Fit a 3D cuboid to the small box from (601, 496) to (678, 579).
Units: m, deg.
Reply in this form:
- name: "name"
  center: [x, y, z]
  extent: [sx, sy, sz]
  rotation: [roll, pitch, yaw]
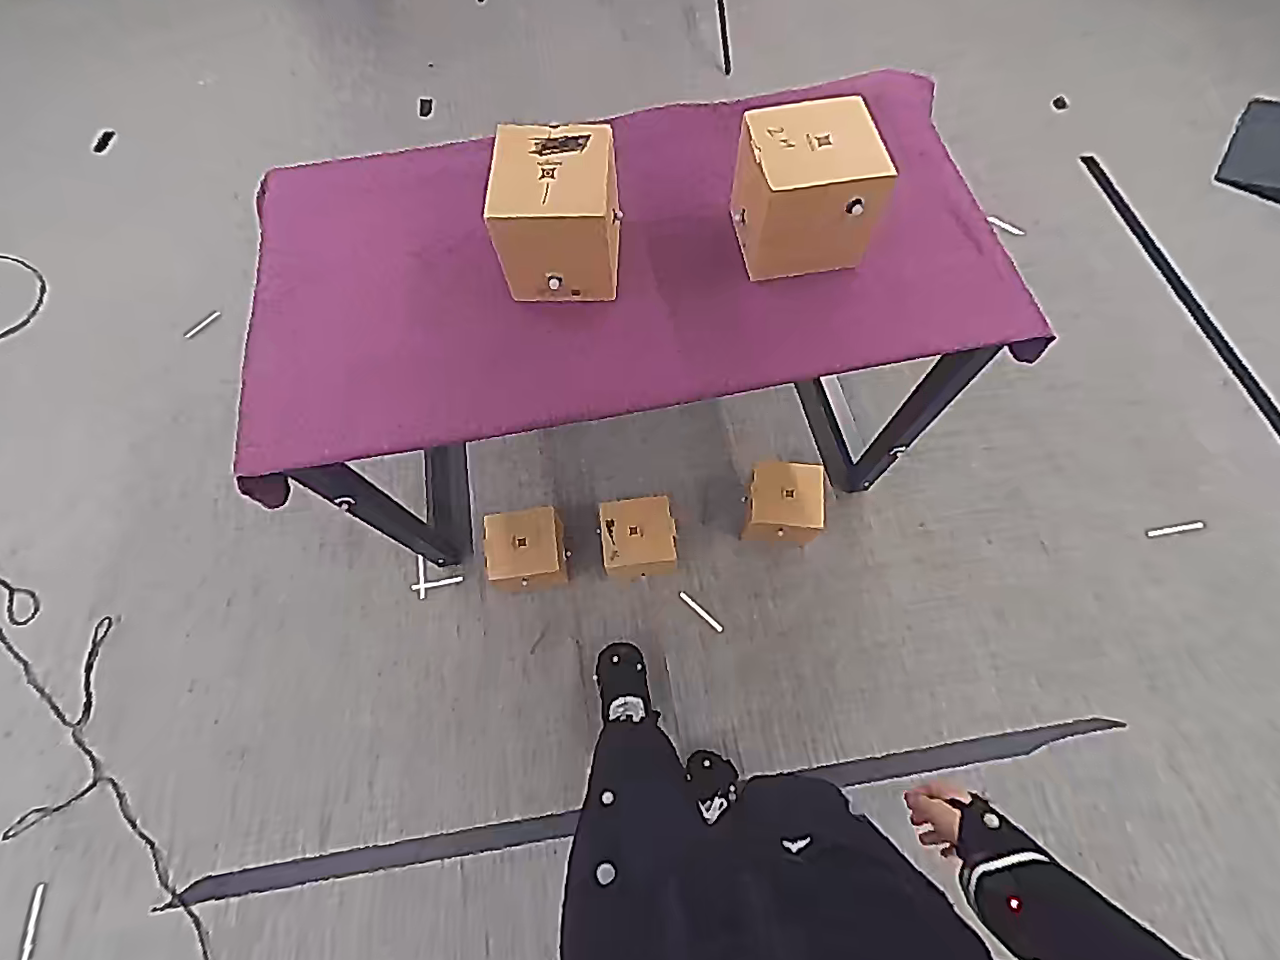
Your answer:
- name: "small box"
  center: [-0.002, 0.151, 1.379]
  extent: [0.179, 0.176, 0.168]
  rotation: [-6, 68, 0]

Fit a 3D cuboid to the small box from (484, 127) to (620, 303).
- name: "small box"
  center: [-0.120, -0.394, 0.815]
  extent: [0.168, 0.176, 0.179]
  rotation: [1, 69, 3]

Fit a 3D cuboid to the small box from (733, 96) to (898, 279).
- name: "small box"
  center: [0.248, -0.431, 0.814]
  extent: [0.179, 0.176, 0.168]
  rotation: [-9, 67, 0]

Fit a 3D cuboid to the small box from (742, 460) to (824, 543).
- name: "small box"
  center: [0.366, 0.061, 1.400]
  extent: [0.179, 0.176, 0.168]
  rotation: [5, 69, 6]
